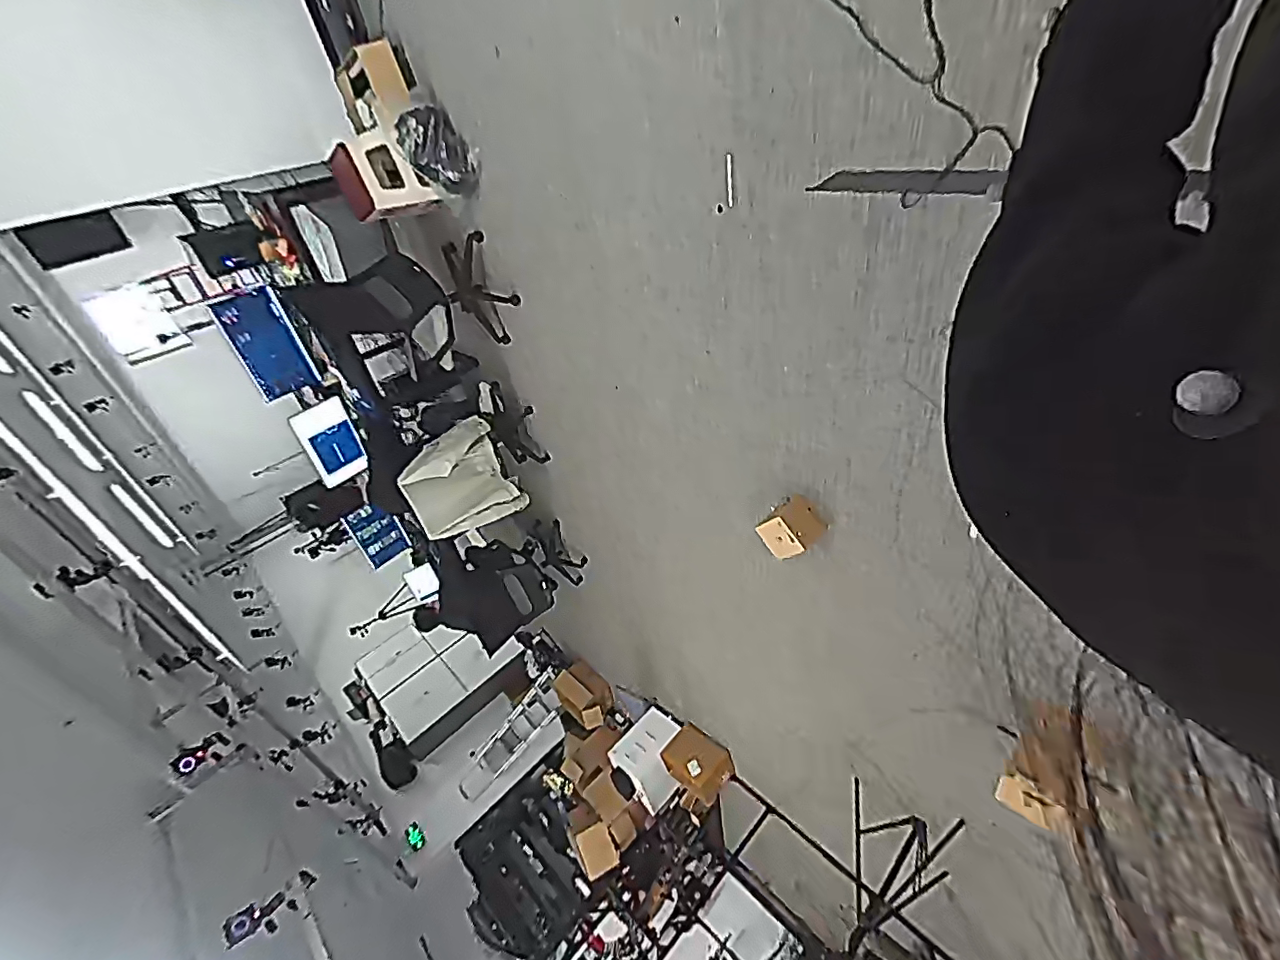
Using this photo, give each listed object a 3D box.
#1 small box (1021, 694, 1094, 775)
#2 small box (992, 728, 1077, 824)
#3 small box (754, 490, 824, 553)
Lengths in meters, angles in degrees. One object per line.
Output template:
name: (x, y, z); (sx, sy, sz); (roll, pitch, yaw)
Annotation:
small box: (1.381, 0.855, 1.804); (0.168, 0.176, 0.179); (24, 140, 43)
small box: (1.261, 0.938, 1.727); (0.168, 0.176, 0.179); (24, 140, 42)
small box: (0.605, 0.168, 2.181); (0.168, 0.176, 0.179); (53, 151, 2)
